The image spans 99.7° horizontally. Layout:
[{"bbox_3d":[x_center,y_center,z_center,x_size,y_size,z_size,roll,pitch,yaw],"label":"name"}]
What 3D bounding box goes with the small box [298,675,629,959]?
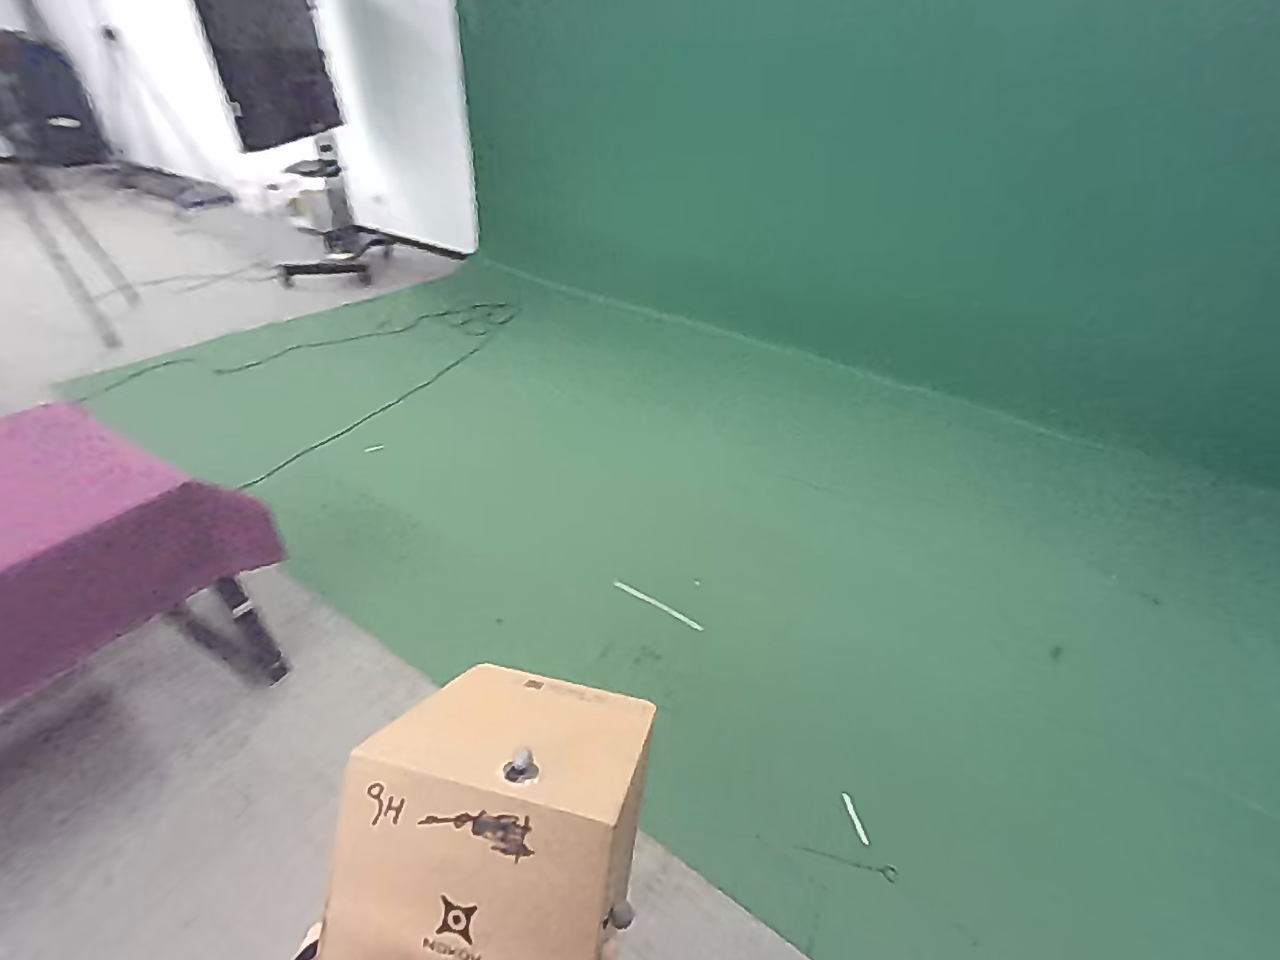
[{"bbox_3d":[-0.110,0.270,0.396,0.168,0.179,0.176,8,1,9],"label":"small box"}]
